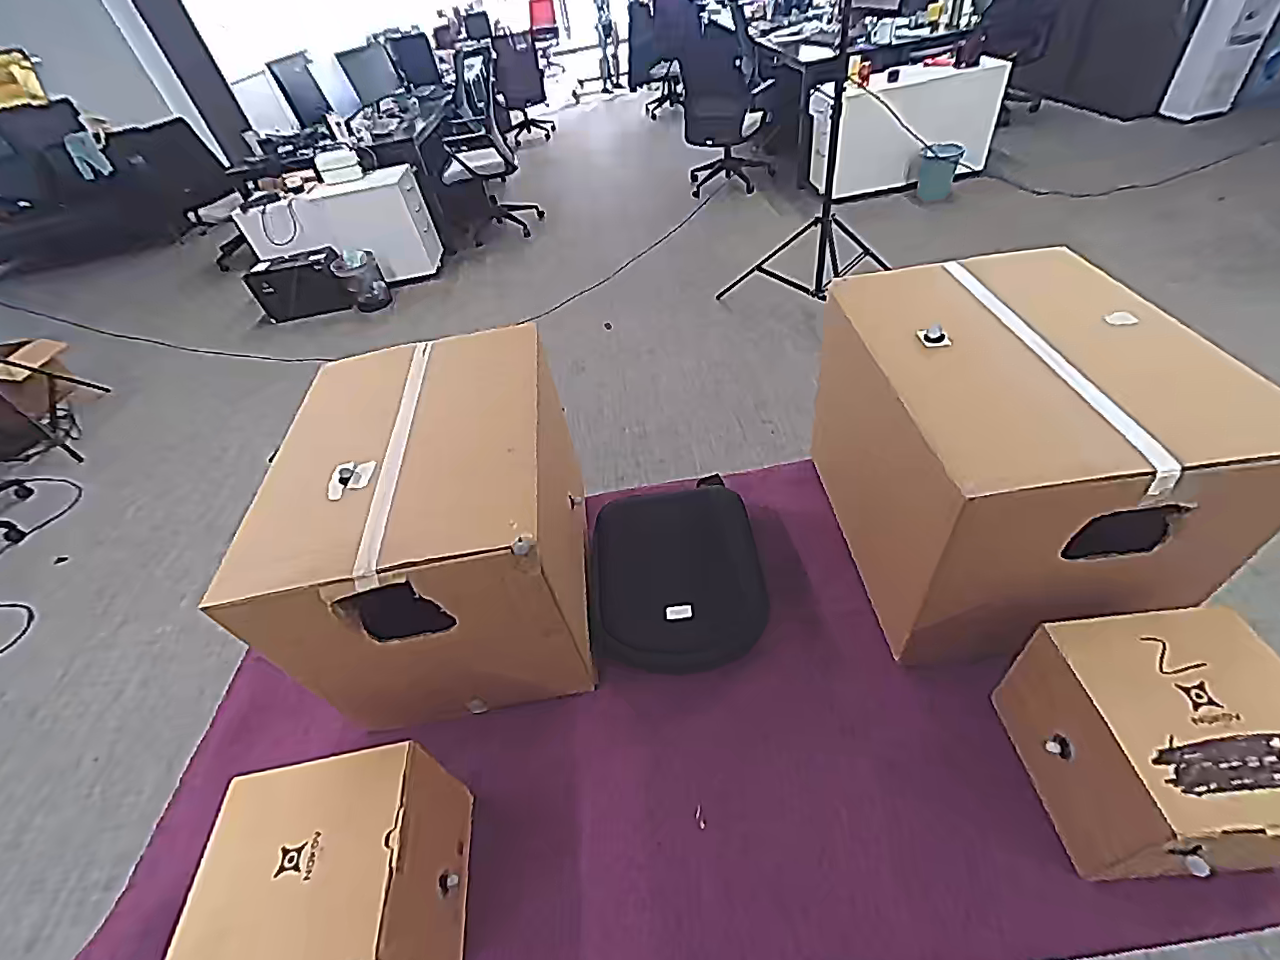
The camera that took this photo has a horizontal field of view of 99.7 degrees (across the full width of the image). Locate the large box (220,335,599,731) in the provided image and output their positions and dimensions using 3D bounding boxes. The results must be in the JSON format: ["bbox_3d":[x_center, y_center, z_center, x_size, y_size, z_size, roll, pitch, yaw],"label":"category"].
[{"bbox_3d":[-0.248,0.062,0.736,0.320,0.320,0.408,-12,46,0],"label":"large box"}]

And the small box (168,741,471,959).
[{"bbox_3d":[-0.282,0.381,0.517,0.179,0.176,0.168,-12,43,-2],"label":"small box"}]
